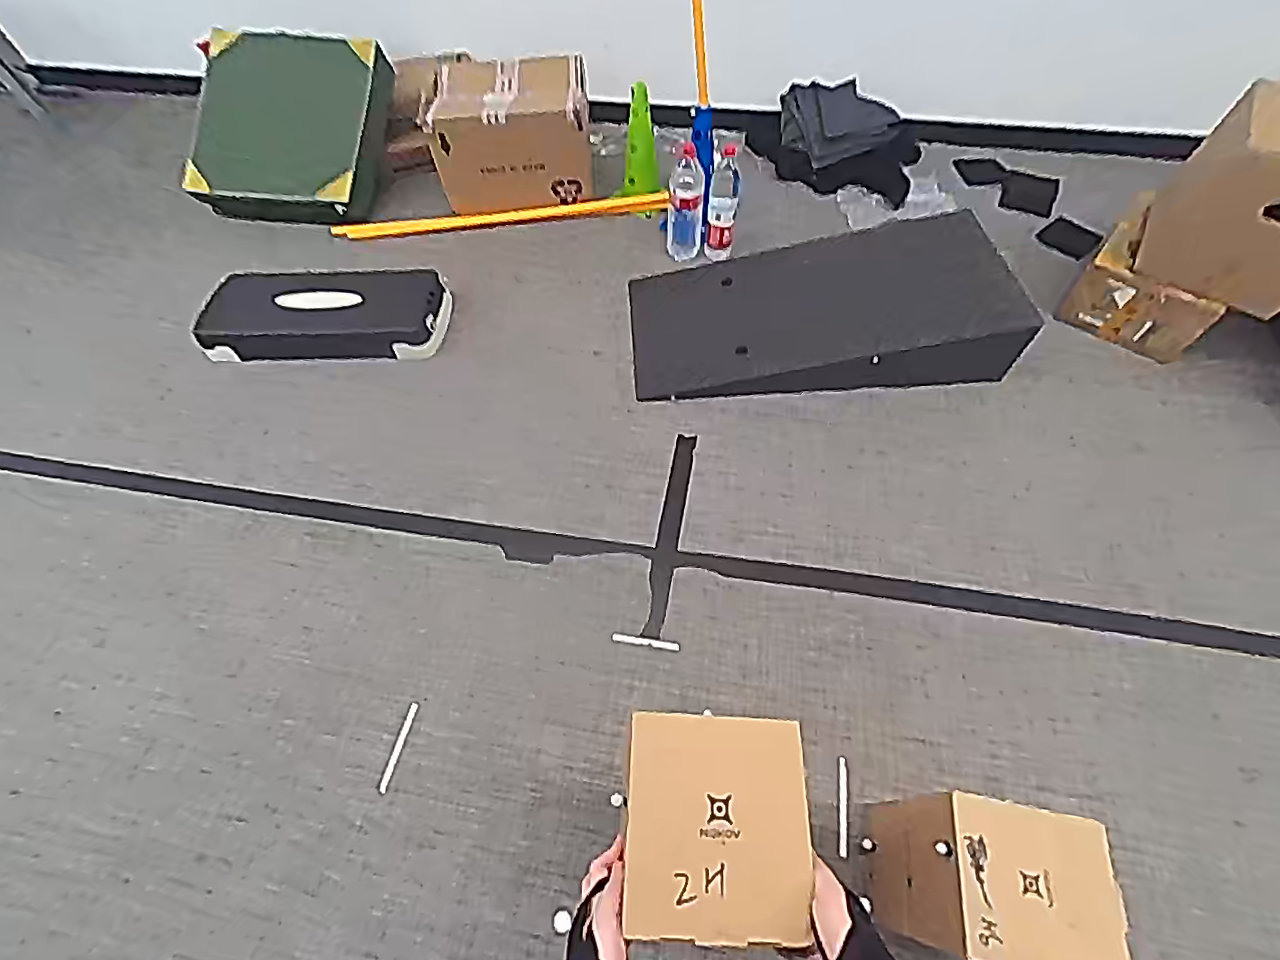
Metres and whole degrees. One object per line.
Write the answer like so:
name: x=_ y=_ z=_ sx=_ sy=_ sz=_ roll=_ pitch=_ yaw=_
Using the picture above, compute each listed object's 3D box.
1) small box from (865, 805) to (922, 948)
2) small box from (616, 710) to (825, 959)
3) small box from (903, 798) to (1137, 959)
small box: x=0.455 y=0.601 z=0.806 sx=0.179 sy=0.176 sz=0.168 roll=11 pitch=58 yaw=8
small box: x=0.065 y=0.338 z=0.536 sx=0.168 sy=0.176 sz=0.179 roll=4 pitch=60 yaw=-1
small box: x=0.452 y=0.510 z=0.671 sx=0.179 sy=0.176 sz=0.168 roll=10 pitch=57 yaw=7
